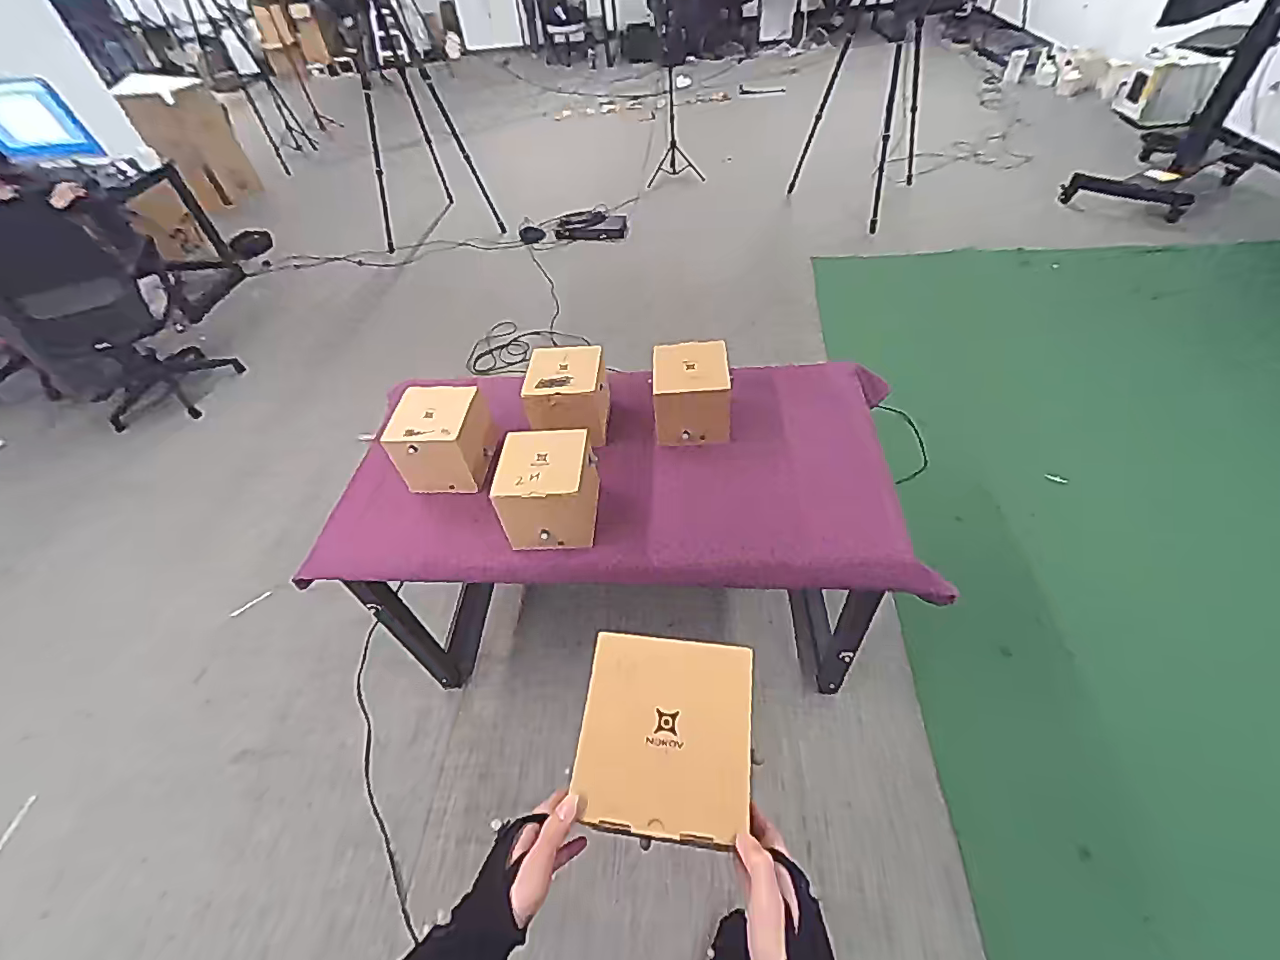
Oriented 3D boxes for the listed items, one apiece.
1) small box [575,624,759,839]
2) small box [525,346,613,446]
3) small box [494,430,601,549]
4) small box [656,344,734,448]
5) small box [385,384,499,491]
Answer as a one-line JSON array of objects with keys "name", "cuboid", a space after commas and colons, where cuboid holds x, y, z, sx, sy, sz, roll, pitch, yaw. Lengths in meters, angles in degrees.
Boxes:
[{"name": "small box", "cuboid": [0.035, 0.278, 0.594, 0.168, 0.176, 0.179, 5, 57, 7]}, {"name": "small box", "cuboid": [-0.158, -0.193, 1.275, 0.168, 0.176, 0.179, -1, 48, 5]}, {"name": "small box", "cuboid": [-0.175, 0.018, 1.085, 0.168, 0.176, 0.179, -1, 47, 5]}, {"name": "small box", "cuboid": [0.126, -0.193, 1.246, 0.168, 0.176, 0.179, -2, 49, 6]}, {"name": "small box", "cuboid": [-0.430, -0.095, 1.213, 0.168, 0.176, 0.179, -1, 48, 8]}]
